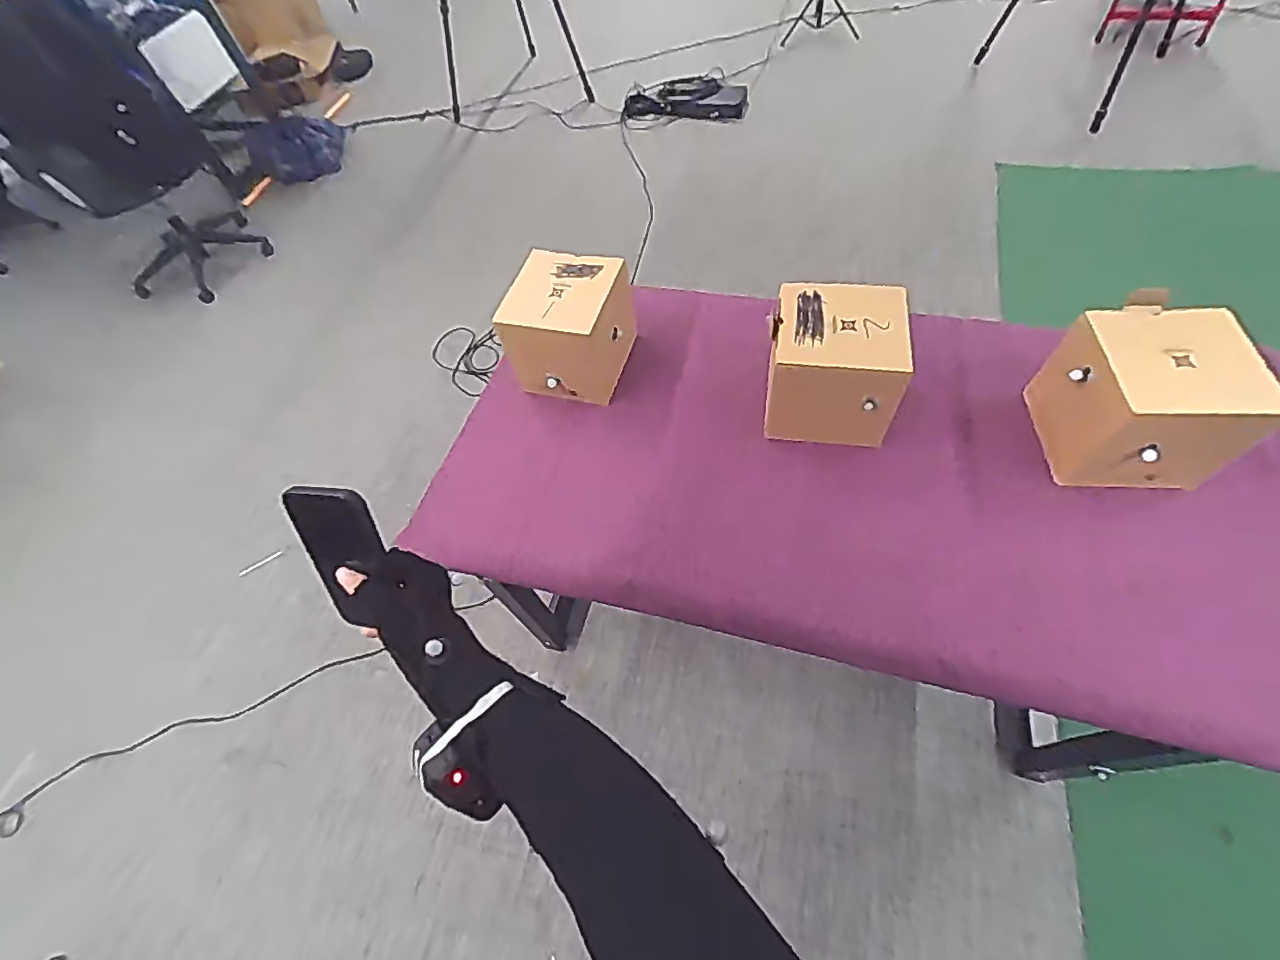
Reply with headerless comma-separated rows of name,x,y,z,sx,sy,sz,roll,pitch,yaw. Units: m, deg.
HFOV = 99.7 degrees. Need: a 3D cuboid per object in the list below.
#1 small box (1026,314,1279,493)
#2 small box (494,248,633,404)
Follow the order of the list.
small box,0.659,-0.096,0.720,0.168,0.176,0.179,2,58,9
small box,-0.115,-0.258,0.912,0.168,0.176,0.179,12,62,14
